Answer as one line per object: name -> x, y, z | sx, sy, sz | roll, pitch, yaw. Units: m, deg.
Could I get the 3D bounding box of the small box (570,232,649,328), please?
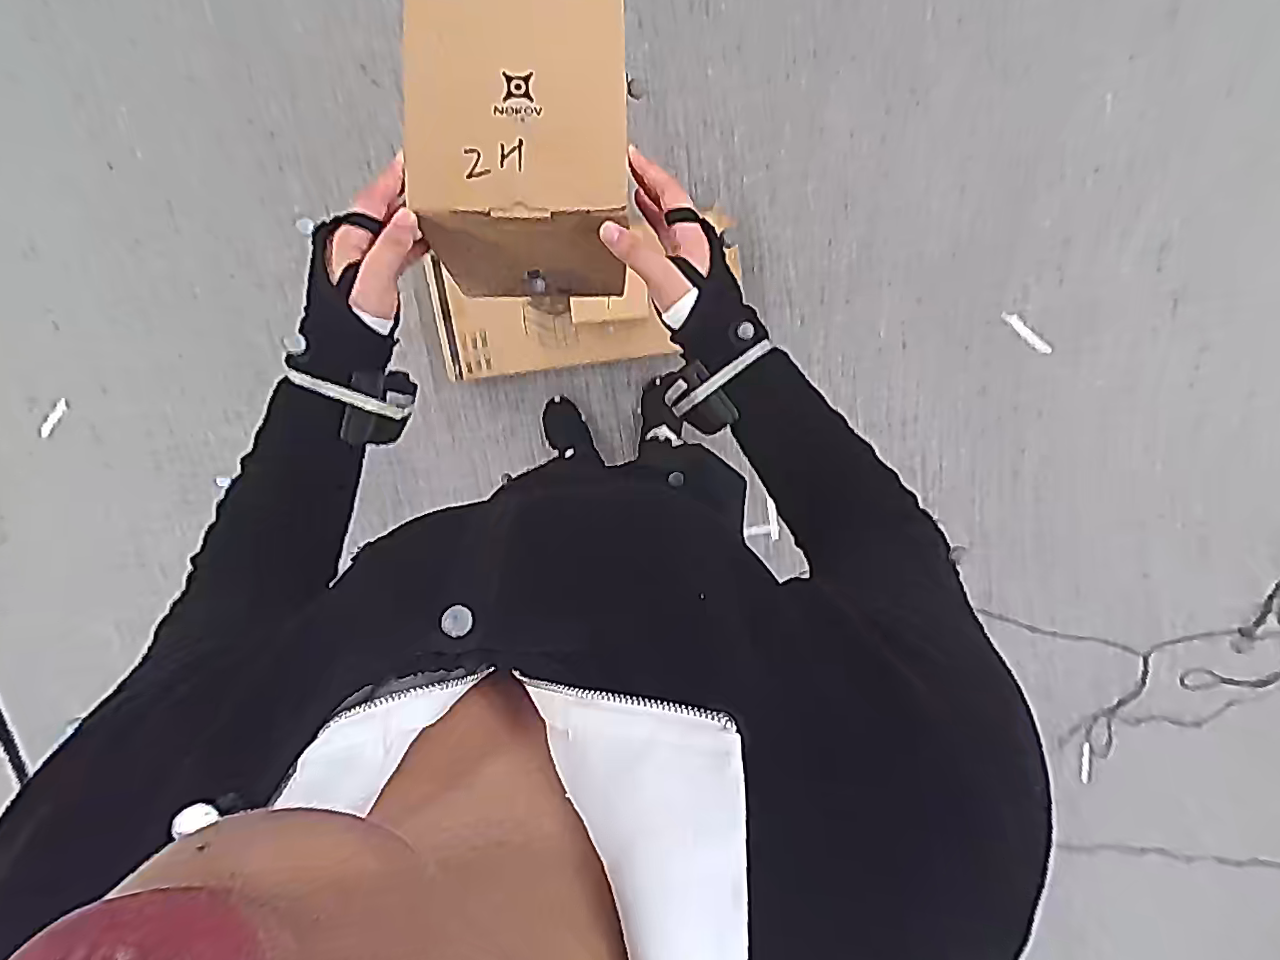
small box -> -0.068, -0.440, 1.209 | 0.168, 0.176, 0.179 | -4, 103, 2

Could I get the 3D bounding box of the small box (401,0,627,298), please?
small box -> -0.098, -0.280, 0.479 | 0.168, 0.176, 0.179 | -1, 88, -3
